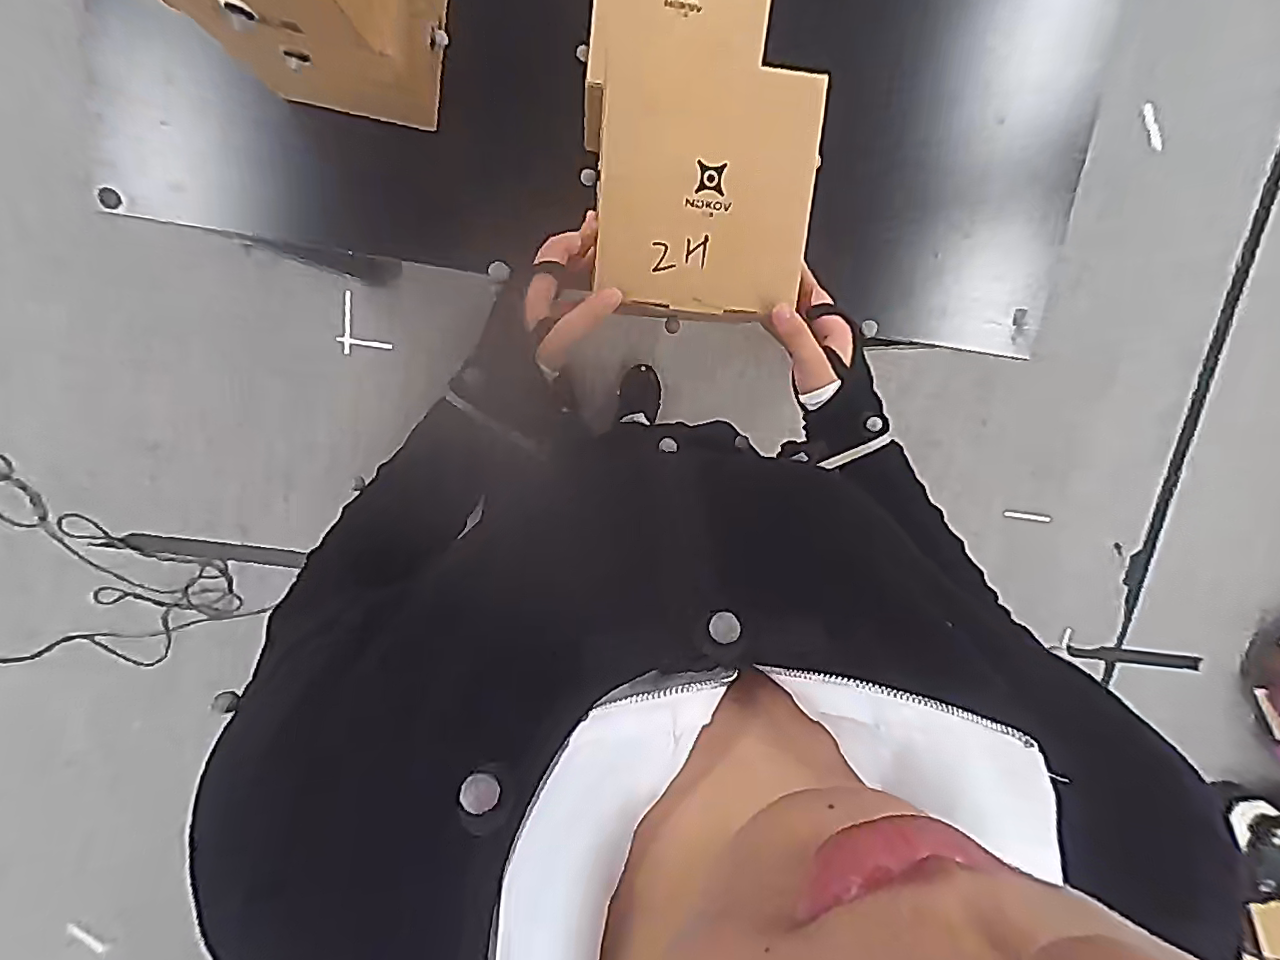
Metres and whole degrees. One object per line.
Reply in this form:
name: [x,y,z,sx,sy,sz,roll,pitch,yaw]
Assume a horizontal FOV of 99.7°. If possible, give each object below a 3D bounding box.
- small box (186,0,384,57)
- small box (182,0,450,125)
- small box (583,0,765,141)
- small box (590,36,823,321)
small box: [-0.291,-0.454,0.381,0.168,0.176,0.179,7,102,-6]
small box: [-0.305,-0.489,0.539,0.179,0.176,0.168,8,101,-8]
small box: [0.030,-0.467,0.580,0.168,0.176,0.179,5,102,-7]
small box: [0.042,-0.246,0.490,0.168,0.176,0.179,3,103,-6]
